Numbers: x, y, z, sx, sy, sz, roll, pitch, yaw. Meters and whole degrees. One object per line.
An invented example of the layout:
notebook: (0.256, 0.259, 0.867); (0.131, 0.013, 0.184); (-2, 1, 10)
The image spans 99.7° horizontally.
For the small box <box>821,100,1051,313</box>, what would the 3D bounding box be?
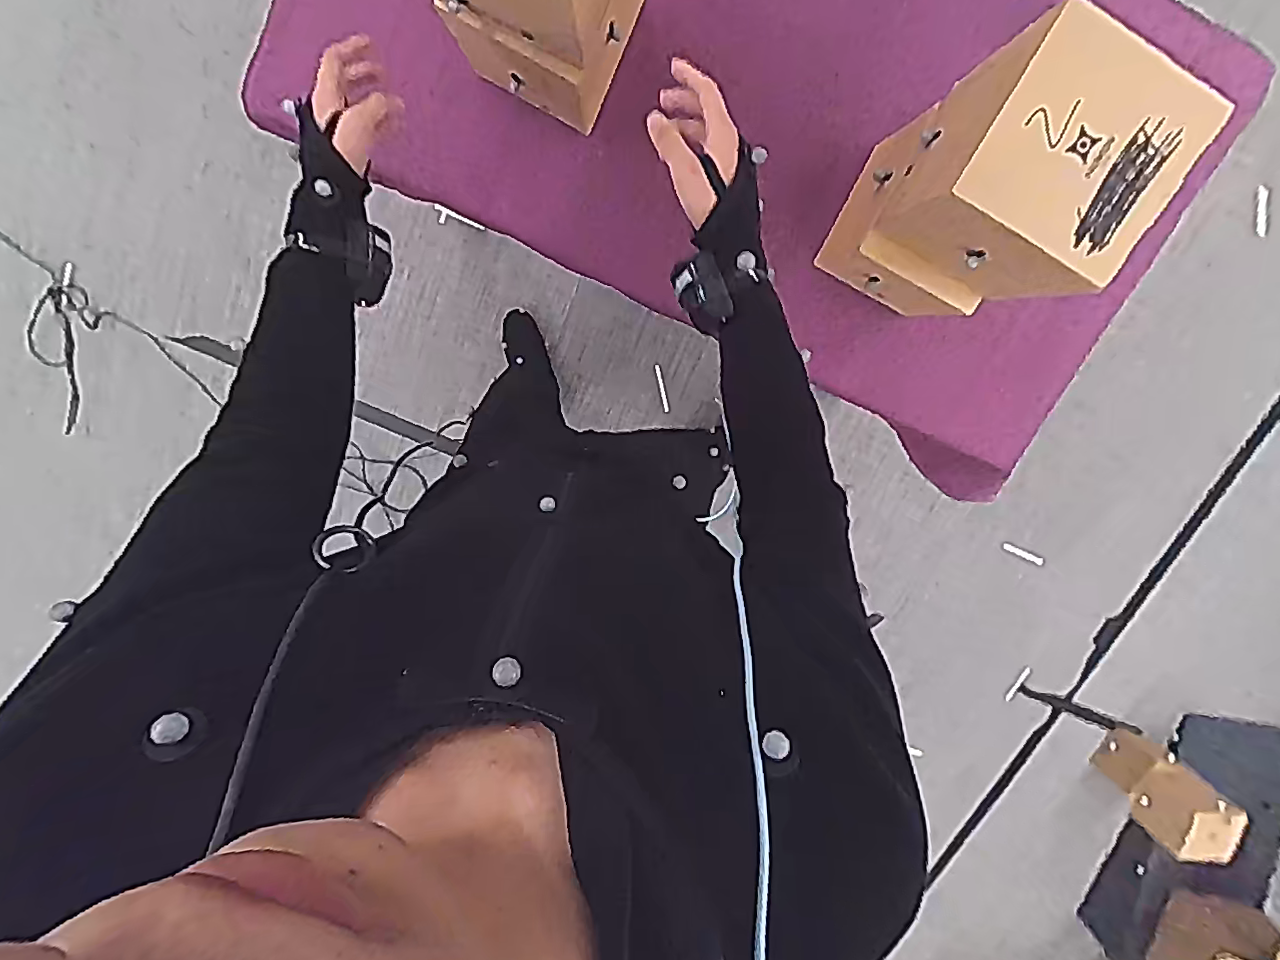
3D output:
small box: (0.359, -0.332, 0.702); (0.168, 0.176, 0.179); (25, 103, -8)

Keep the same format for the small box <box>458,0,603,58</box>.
small box: (-0.101, -0.517, 0.461); (0.168, 0.176, 0.179); (21, 104, -8)

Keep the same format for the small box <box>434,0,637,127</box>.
small box: (-0.105, -0.552, 0.623); (0.168, 0.176, 0.179); (25, 104, -9)
